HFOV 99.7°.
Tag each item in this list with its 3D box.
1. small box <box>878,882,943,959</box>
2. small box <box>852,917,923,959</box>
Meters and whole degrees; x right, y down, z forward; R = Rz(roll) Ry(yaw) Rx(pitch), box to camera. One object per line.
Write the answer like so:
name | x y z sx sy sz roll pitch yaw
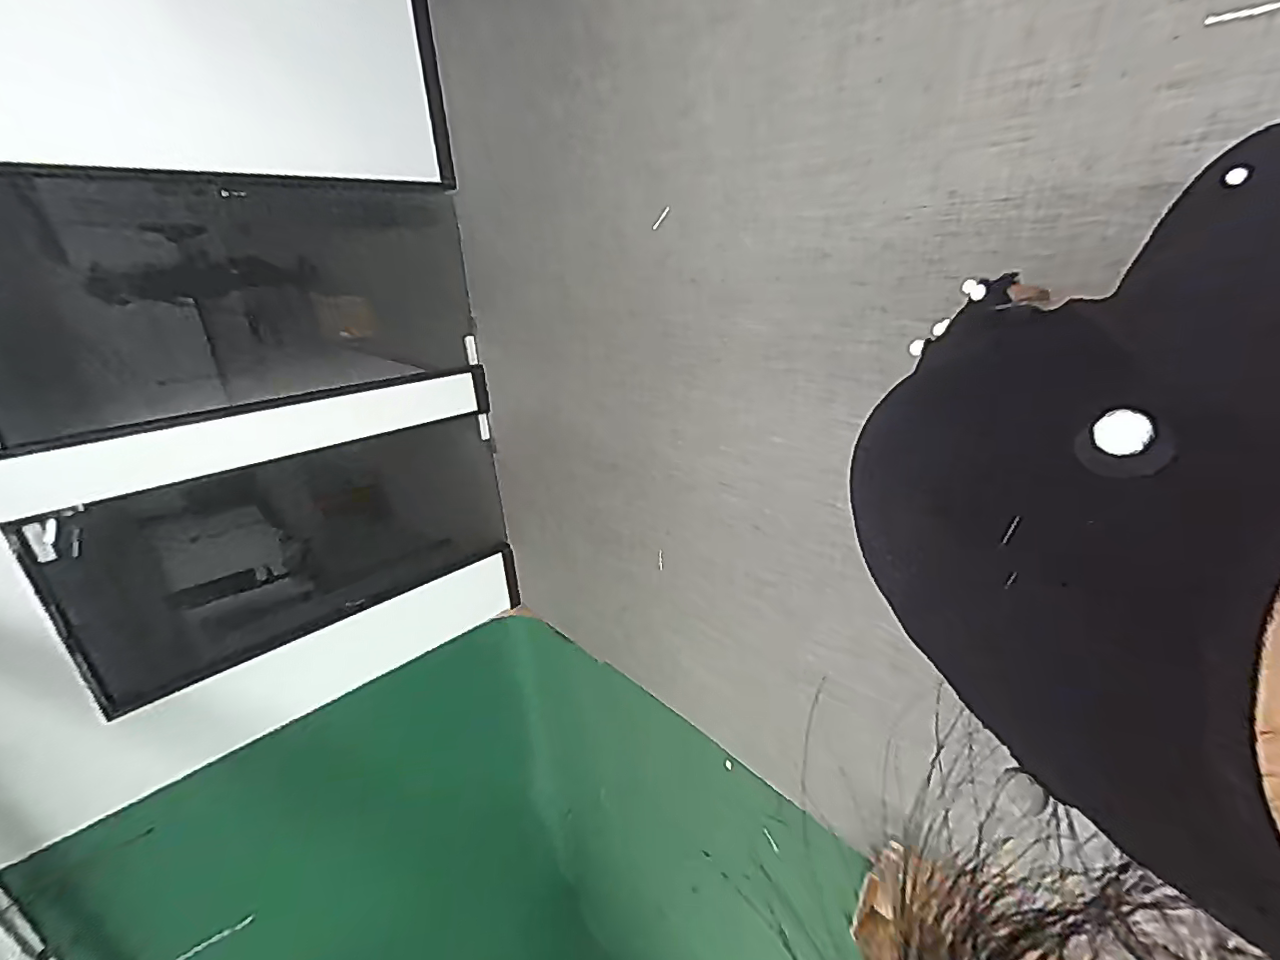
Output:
small box | 0.917 1.554 1.865 0.168 0.176 0.179 26 125 38
small box | 0.802 1.599 1.759 0.168 0.176 0.179 15 115 42
